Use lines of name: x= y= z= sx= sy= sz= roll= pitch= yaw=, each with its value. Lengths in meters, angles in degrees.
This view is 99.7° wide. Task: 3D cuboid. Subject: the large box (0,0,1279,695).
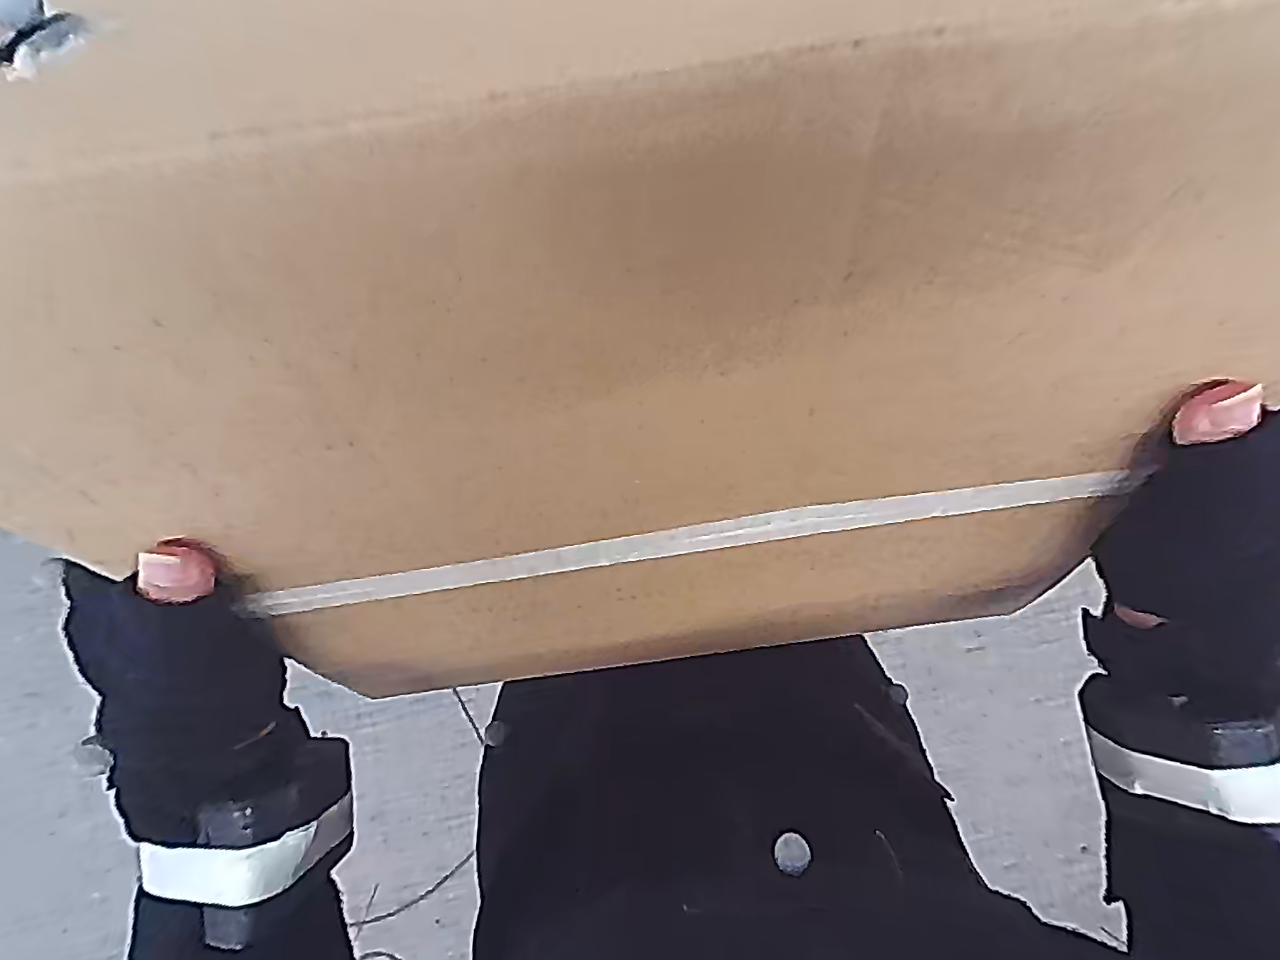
large box: x=0.005 y=-0.099 z=0.309 sx=0.408 sy=0.320 sz=0.320 roll=-8 pitch=55 yaw=0
